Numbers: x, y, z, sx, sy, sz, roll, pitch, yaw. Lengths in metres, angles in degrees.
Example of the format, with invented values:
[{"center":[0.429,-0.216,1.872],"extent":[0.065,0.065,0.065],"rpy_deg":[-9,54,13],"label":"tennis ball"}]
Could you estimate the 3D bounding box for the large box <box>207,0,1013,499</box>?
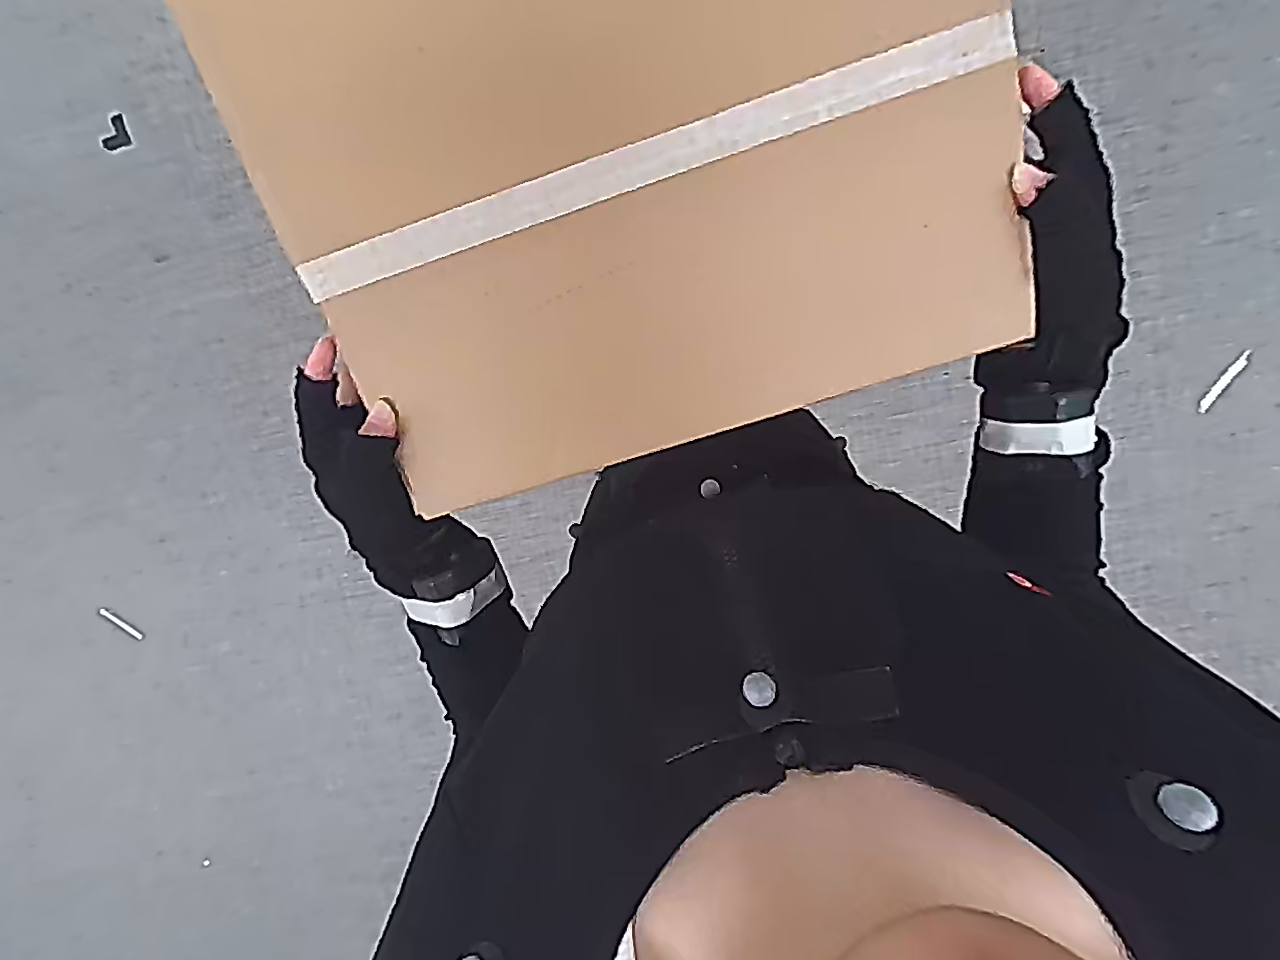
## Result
[{"center":[-0.001,-0.225,0.452],"extent":[0.408,0.320,0.320],"rpy_deg":[-16,108,5],"label":"large box"}]
